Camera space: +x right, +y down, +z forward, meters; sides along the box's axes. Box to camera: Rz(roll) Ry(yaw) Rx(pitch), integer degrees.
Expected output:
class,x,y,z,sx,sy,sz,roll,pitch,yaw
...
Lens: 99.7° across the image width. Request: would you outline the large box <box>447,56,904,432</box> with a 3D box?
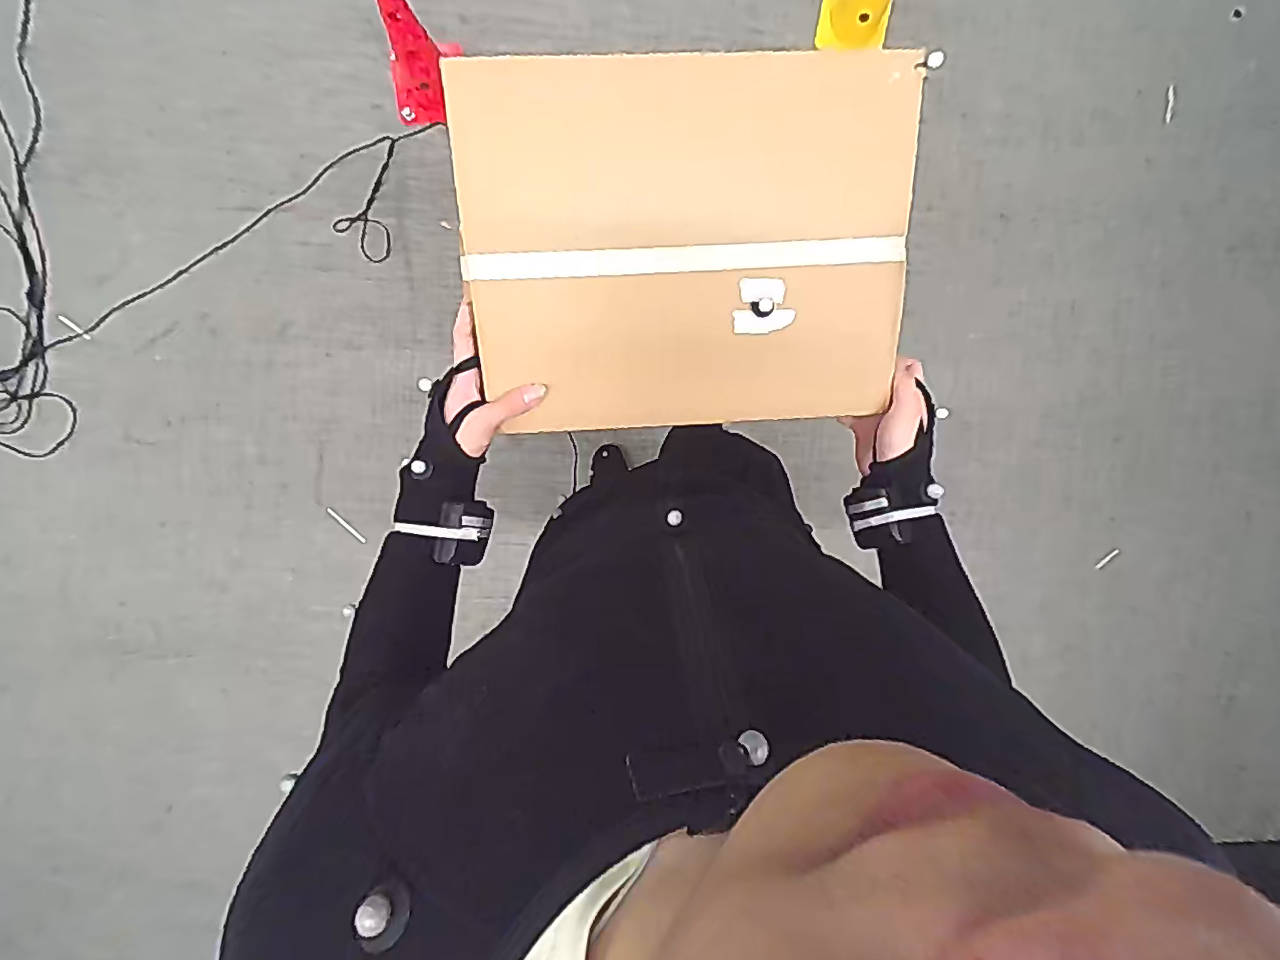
class,x,y,z,sx,sy,sz,roll,pitch,yaw
large box,0.030,-0.253,0.647,0.408,0.320,0.320,-4,109,-4
